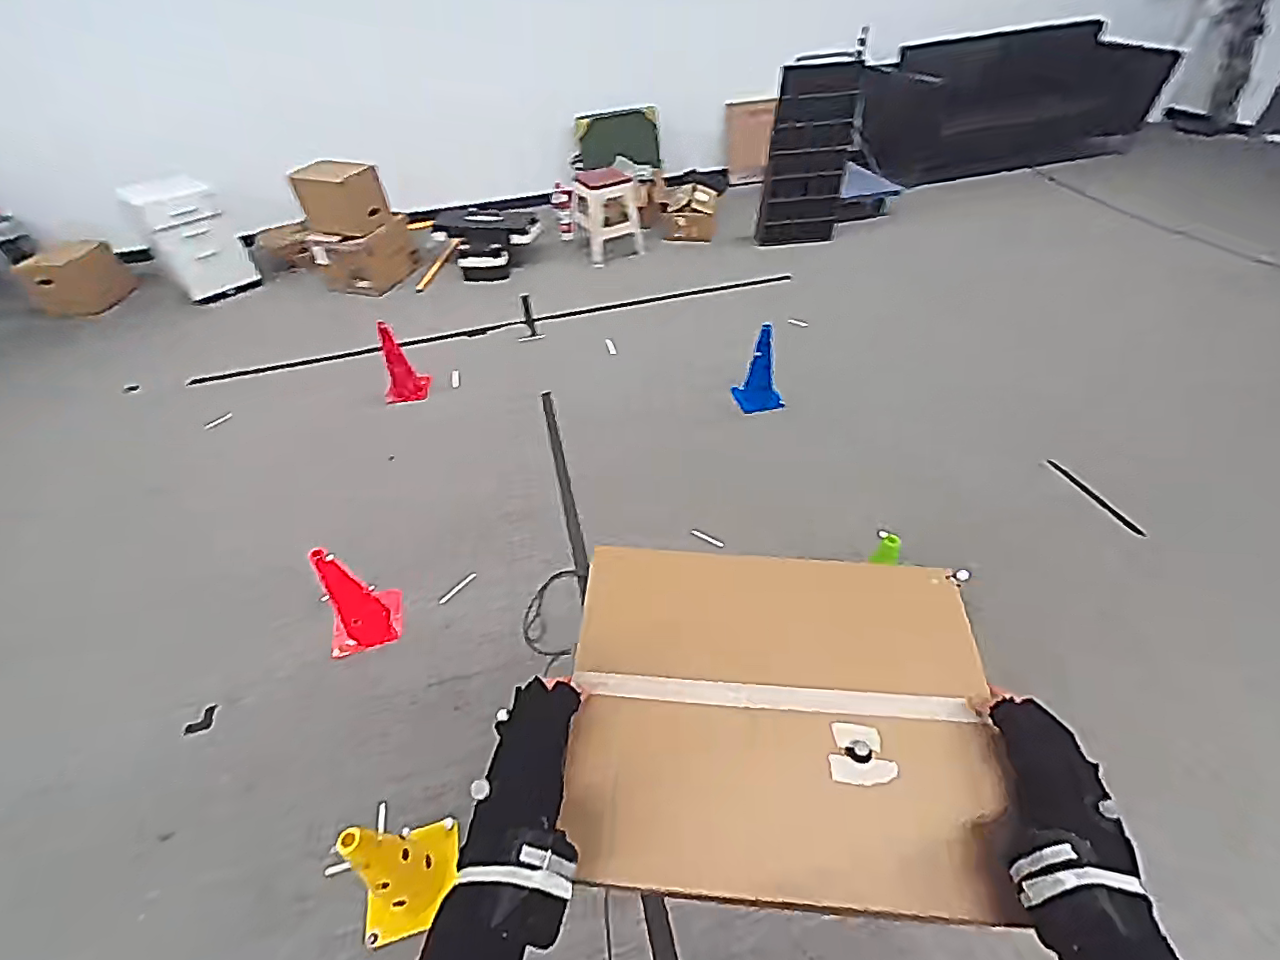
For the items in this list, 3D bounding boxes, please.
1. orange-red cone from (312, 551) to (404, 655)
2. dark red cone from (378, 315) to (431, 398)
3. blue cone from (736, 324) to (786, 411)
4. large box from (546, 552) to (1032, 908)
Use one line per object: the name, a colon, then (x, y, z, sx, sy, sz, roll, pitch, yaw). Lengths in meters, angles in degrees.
orange-red cone: (-0.862, 0.329, 1.596, 0.198, 0.360, 0.199, -15, 47, -9)
dark red cone: (-1.124, -0.573, 2.495, 0.201, 0.394, 0.202, -8, 45, -5)
blue cone: (0.538, -0.496, 2.345, 0.192, 0.380, 0.193, -10, 45, -7)
large box: (0.125, 0.303, 0.646, 0.408, 0.320, 0.320, 3, 52, 3)
